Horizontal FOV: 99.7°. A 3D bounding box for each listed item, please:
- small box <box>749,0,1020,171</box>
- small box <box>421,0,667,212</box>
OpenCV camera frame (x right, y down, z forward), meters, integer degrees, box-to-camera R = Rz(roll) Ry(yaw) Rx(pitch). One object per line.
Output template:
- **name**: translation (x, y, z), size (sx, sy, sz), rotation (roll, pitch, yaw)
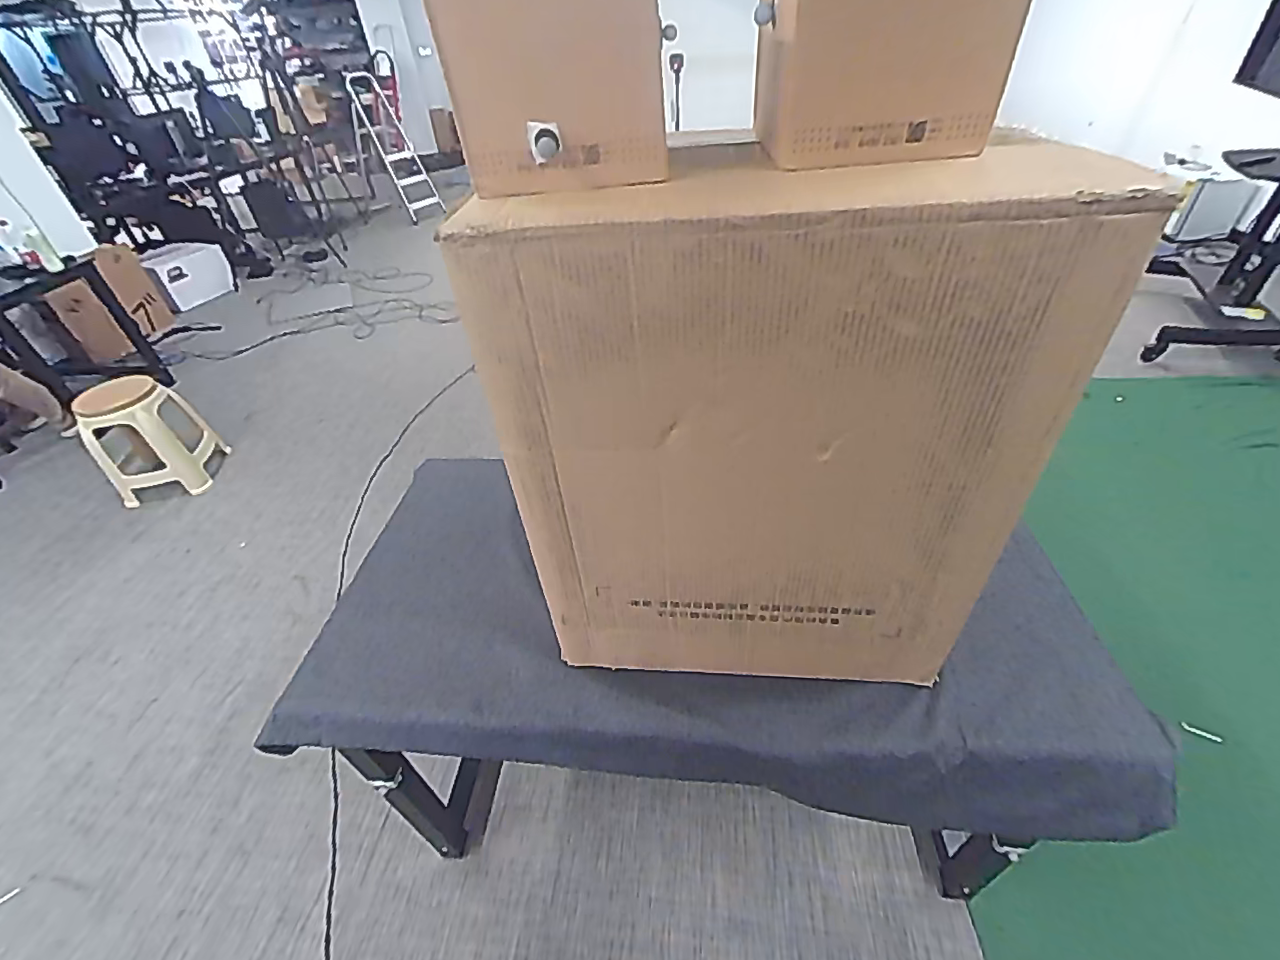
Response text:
- **small box**: translation (0.186, -0.372, 0.452), size (0.168, 0.176, 0.179), rotation (-4, 41, 4)
- **small box**: translation (-0.067, -0.351, 0.468), size (0.168, 0.176, 0.179), rotation (-5, 43, 6)
